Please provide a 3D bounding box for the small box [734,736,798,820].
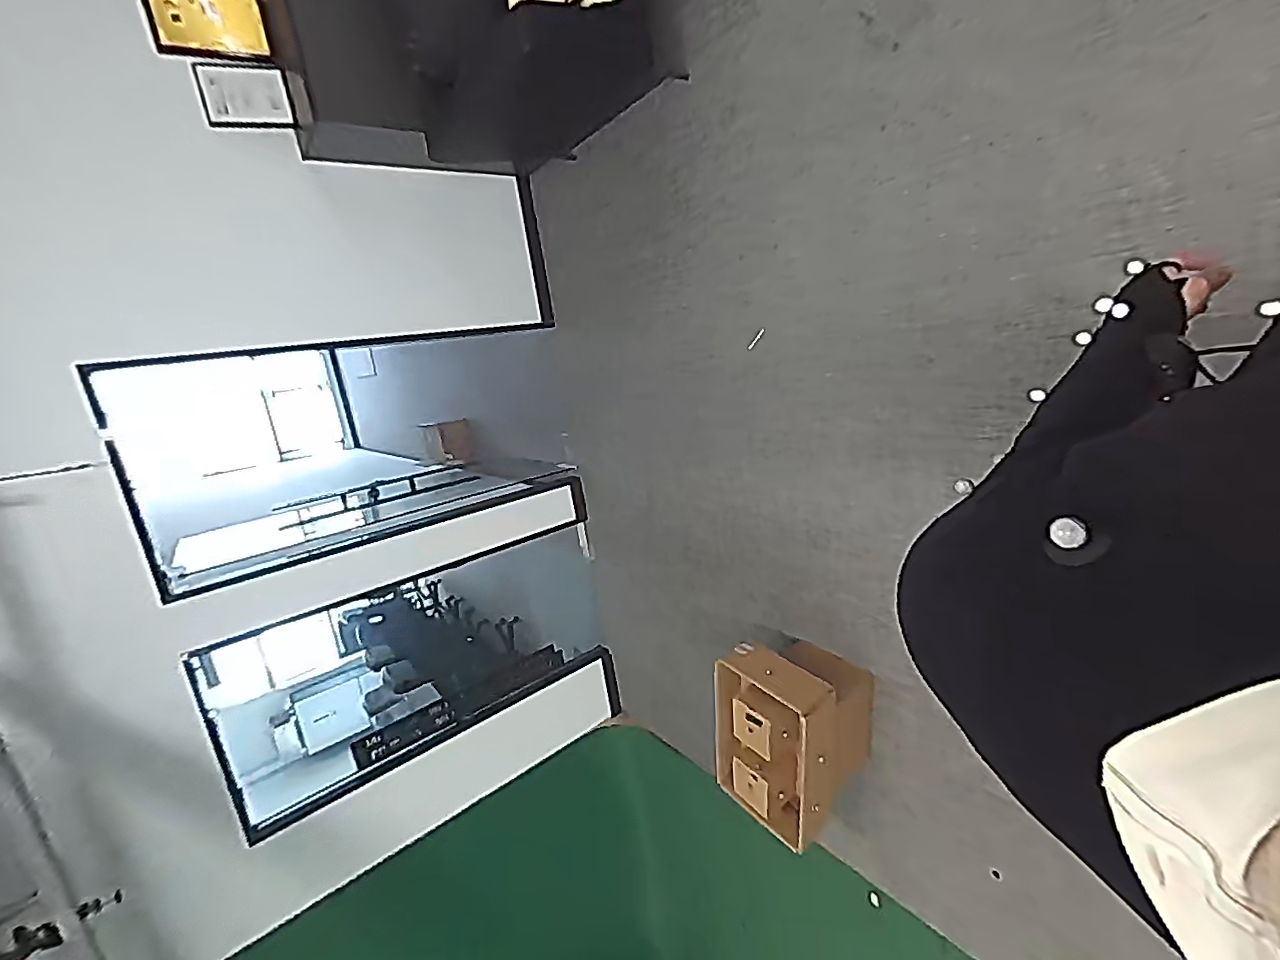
[{"bbox_3d":[0.466,1.097,2.001,0.168,0.176,0.179,20,120,50],"label":"small box"}]
